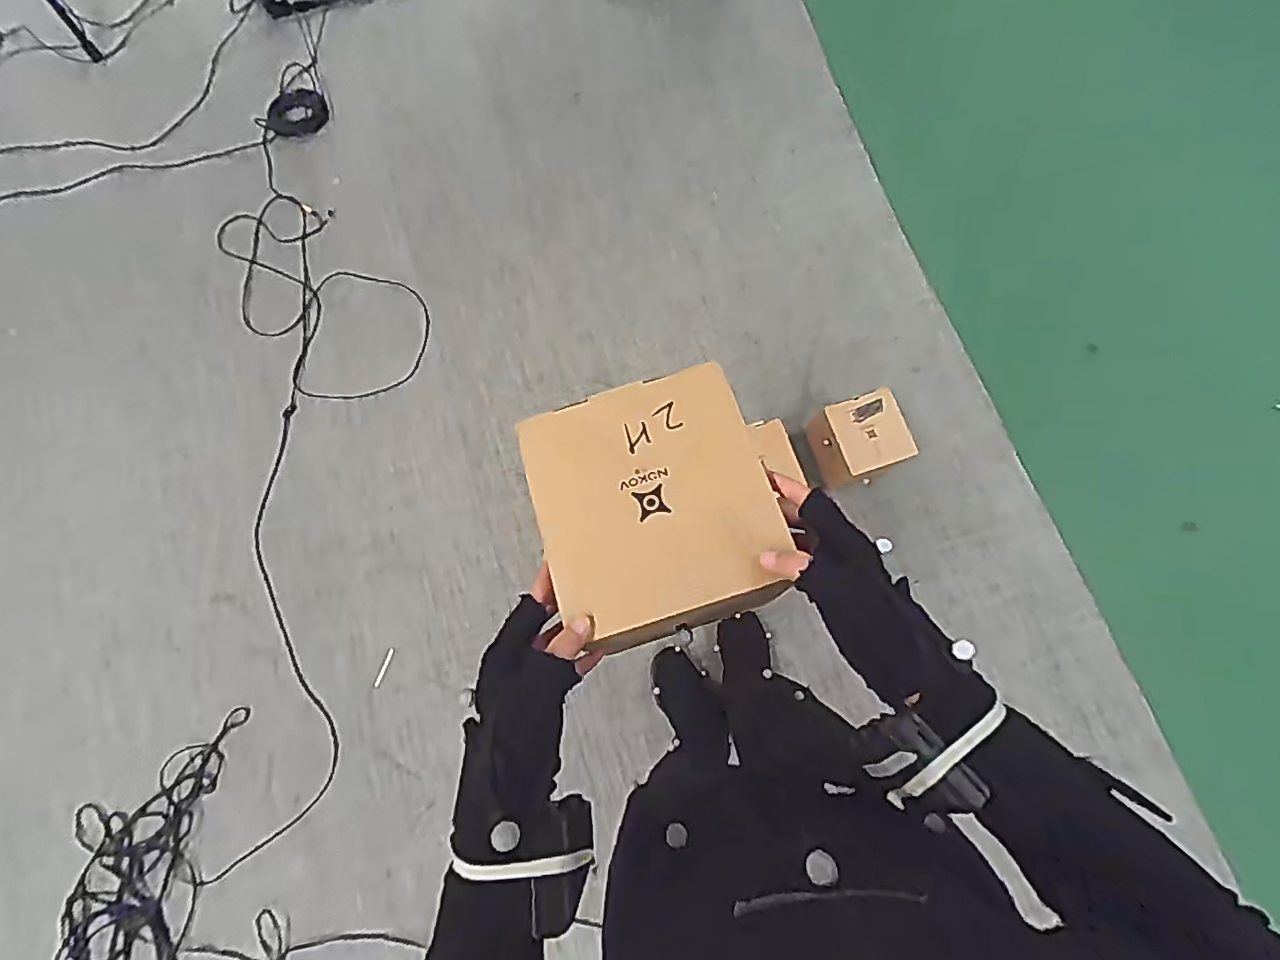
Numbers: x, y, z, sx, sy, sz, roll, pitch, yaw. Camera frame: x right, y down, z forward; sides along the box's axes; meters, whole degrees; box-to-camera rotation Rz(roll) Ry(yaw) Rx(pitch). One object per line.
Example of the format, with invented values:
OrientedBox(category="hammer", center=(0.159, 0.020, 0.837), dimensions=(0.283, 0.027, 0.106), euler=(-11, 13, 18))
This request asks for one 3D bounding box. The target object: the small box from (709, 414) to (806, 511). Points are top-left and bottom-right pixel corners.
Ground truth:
OrientedBox(category="small box", center=(0.274, -0.032, 1.302), dimensions=(0.168, 0.176, 0.179), euler=(-19, 78, -3))

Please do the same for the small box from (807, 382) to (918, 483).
OrientedBox(category="small box", center=(0.526, -0.108, 1.310), dimensions=(0.168, 0.176, 0.179), euler=(-19, 79, -2))
